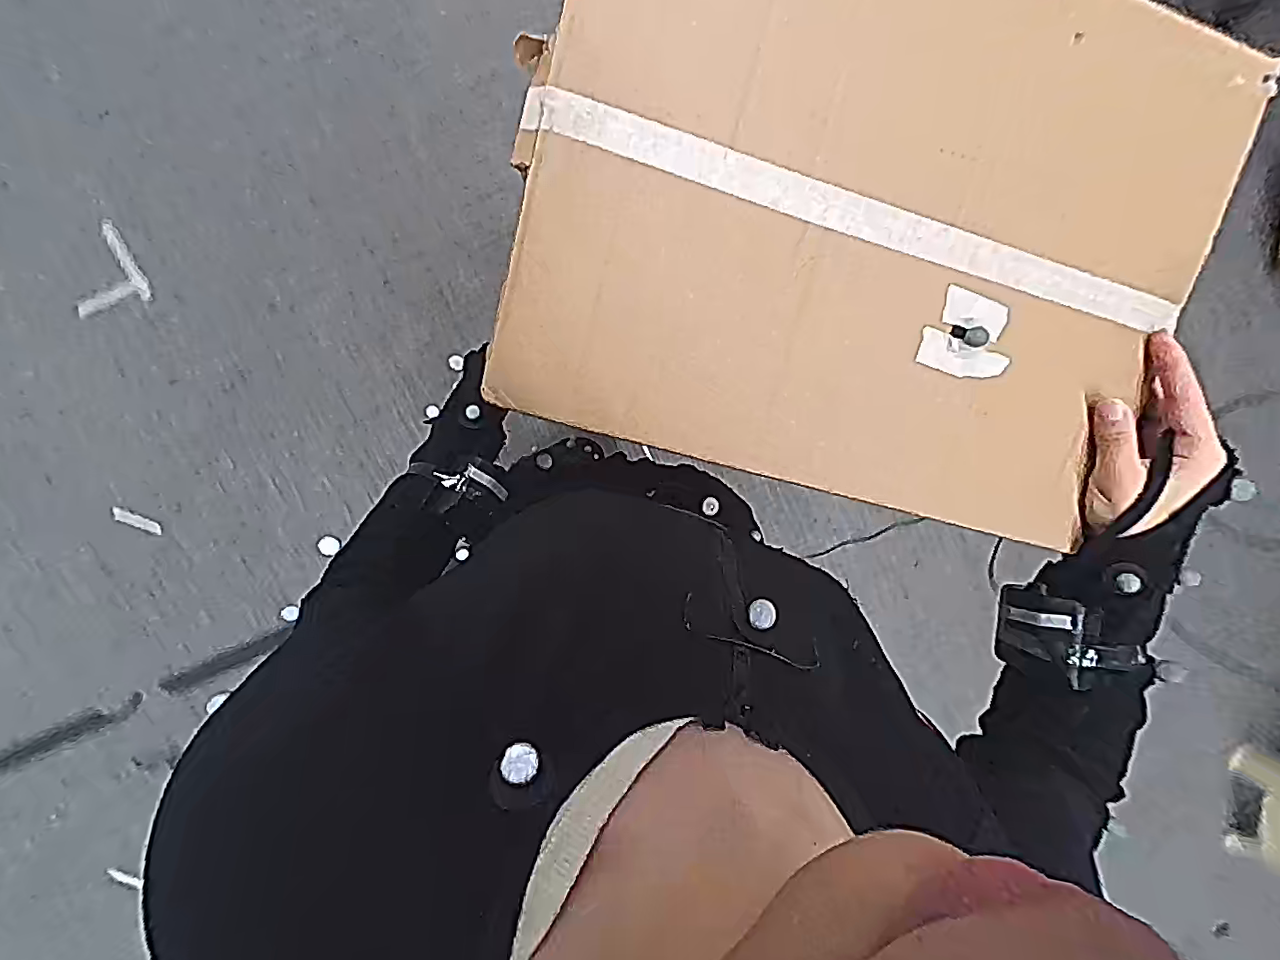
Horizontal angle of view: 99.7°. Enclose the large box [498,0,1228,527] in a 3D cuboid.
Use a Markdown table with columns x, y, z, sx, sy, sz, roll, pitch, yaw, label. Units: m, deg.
| x | y | z | sx | sy | sz | roll | pitch | yaw | label |
| --- | --- | --- | --- | --- | --- | --- | --- | --- | --- |
| 0.118 | -0.178 | 0.468 | 0.408 | 0.320 | 0.320 | 12 | 100 | -10 | large box |
